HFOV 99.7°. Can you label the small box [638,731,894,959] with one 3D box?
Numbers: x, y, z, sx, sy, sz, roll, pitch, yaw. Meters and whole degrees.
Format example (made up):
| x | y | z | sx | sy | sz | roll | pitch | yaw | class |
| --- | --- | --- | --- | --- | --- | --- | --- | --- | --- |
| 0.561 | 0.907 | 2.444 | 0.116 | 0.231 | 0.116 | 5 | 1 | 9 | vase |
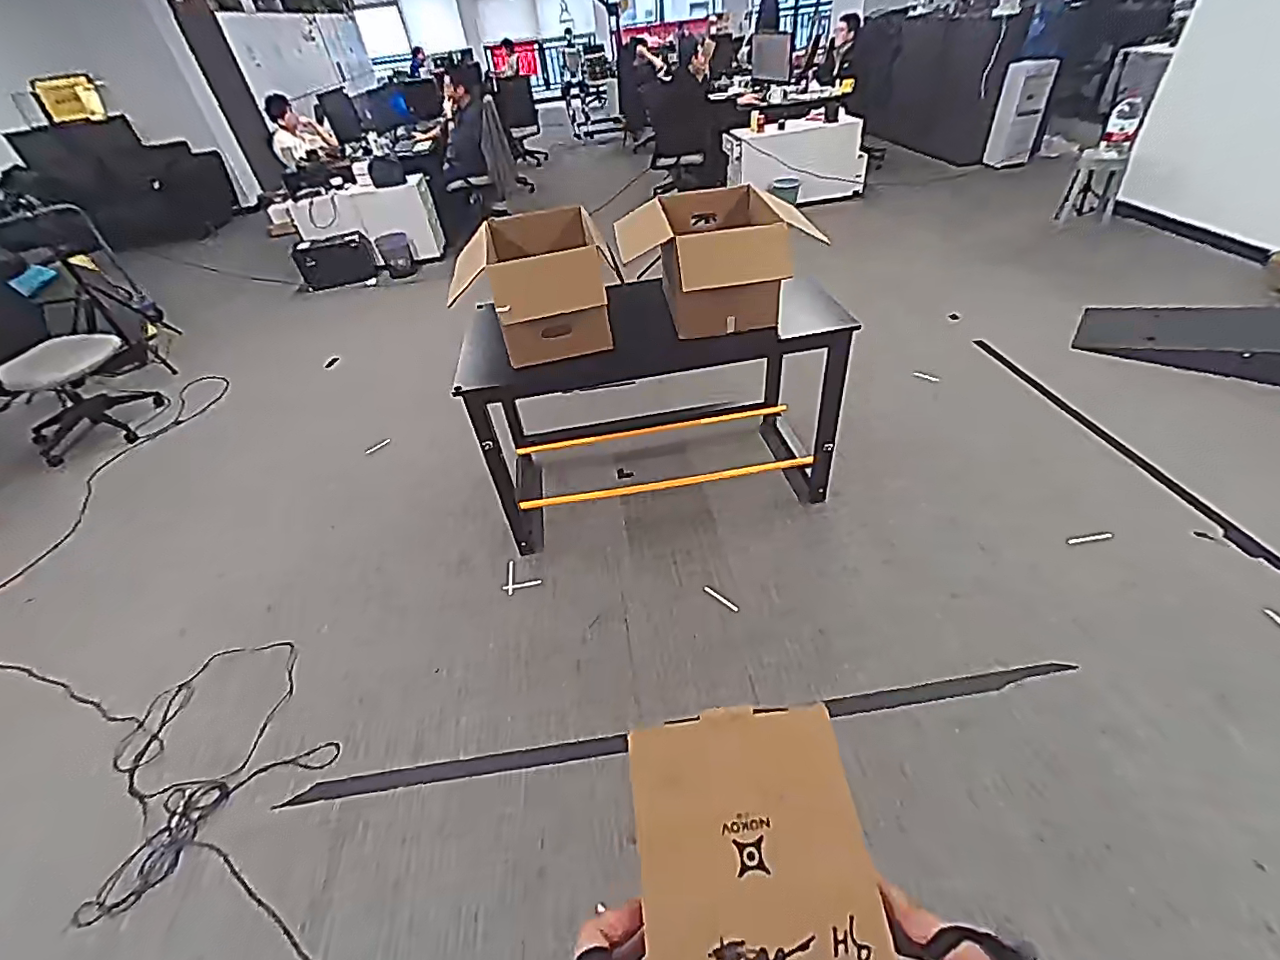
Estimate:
| x | y | z | sx | sy | sz | roll | pitch | yaw | class |
| --- | --- | --- | --- | --- | --- | --- | --- | --- | --- |
| 0.088 | 0.332 | 0.460 | 0.168 | 0.176 | 0.179 | -7 | 55 | -1 | small box |
